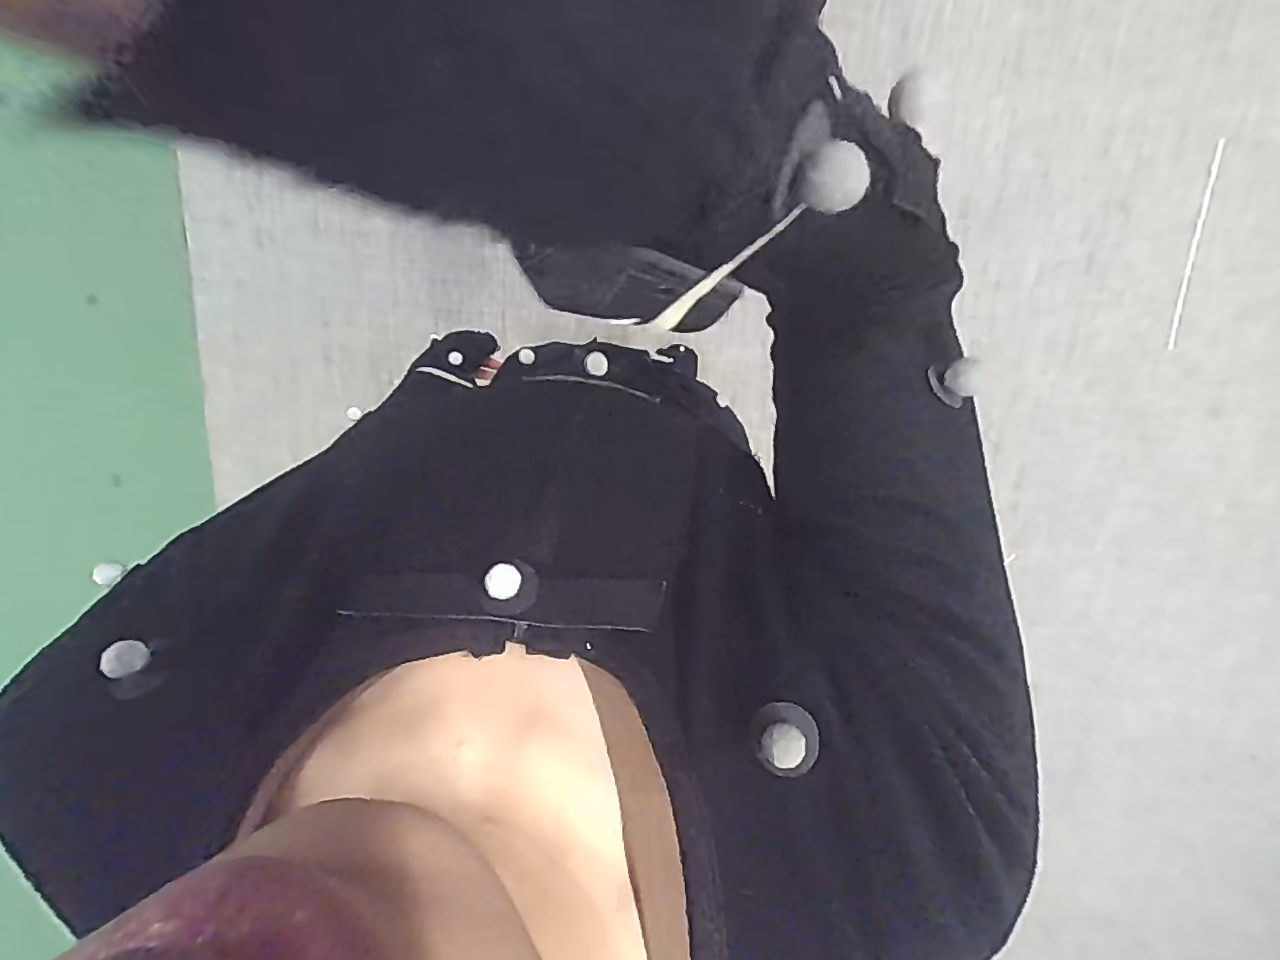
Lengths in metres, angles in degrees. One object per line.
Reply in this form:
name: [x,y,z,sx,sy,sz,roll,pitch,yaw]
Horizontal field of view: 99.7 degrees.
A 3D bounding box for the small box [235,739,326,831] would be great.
small box: [-1.081,0.916,1.636,0.168,0.176,0.179,5,103,1]
